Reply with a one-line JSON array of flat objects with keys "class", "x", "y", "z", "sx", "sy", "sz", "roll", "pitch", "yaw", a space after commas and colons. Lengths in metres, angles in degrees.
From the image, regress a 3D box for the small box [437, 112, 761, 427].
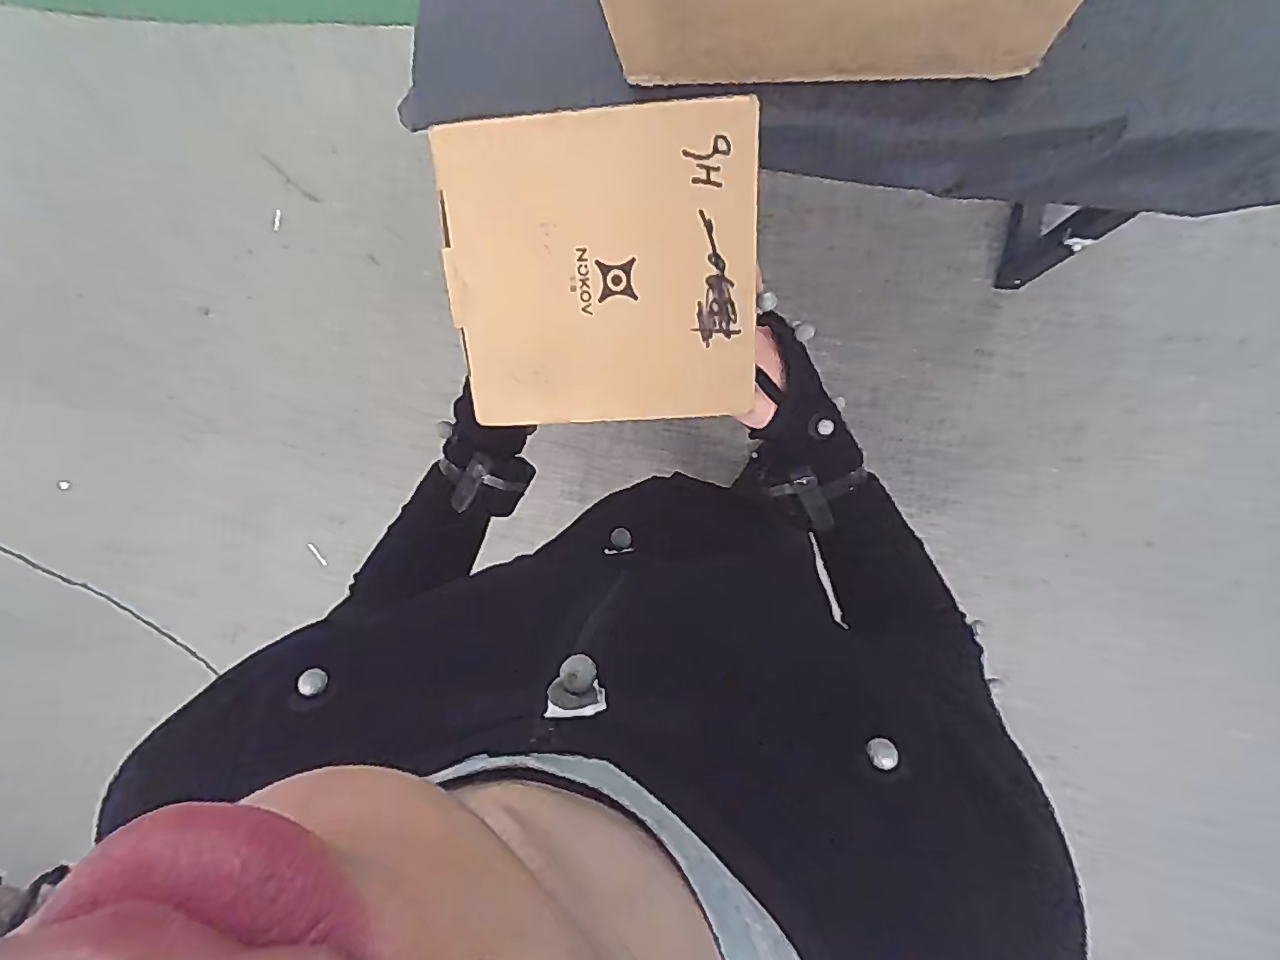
[{"class": "small box", "x": -0.014, "y": -0.138, "z": 0.384, "sx": 0.179, "sy": 0.176, "sz": 0.168, "roll": -1, "pitch": 111, "yaw": 5}]
